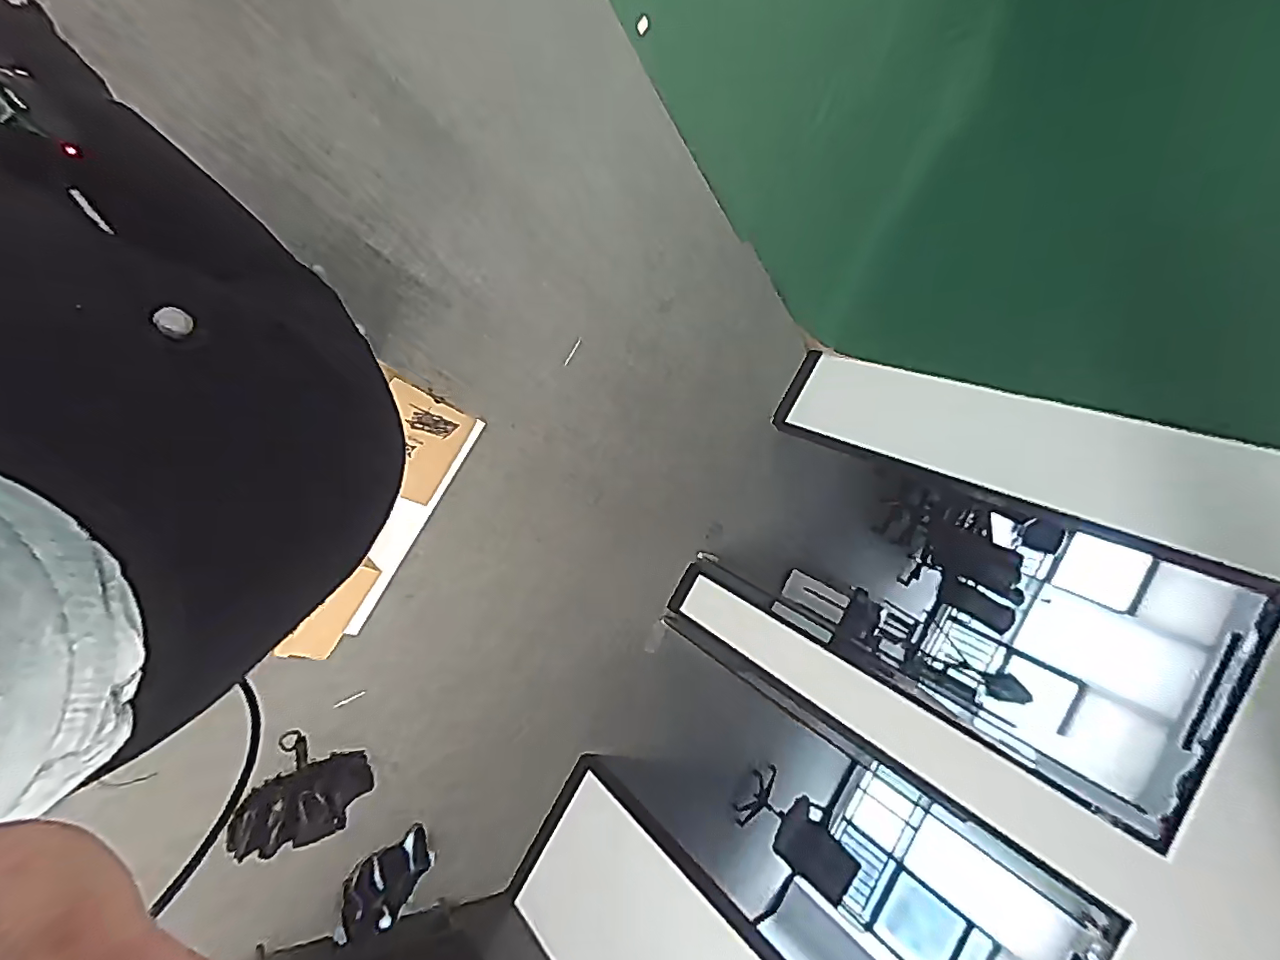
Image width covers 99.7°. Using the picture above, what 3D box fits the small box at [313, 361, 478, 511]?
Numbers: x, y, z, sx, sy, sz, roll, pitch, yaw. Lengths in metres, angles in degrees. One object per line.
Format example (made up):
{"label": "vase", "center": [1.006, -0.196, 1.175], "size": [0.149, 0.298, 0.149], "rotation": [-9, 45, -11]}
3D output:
{"label": "small box", "center": [-0.415, -0.078, 0.913], "size": [0.168, 0.176, 0.179], "rotation": [32, 89, -50]}
